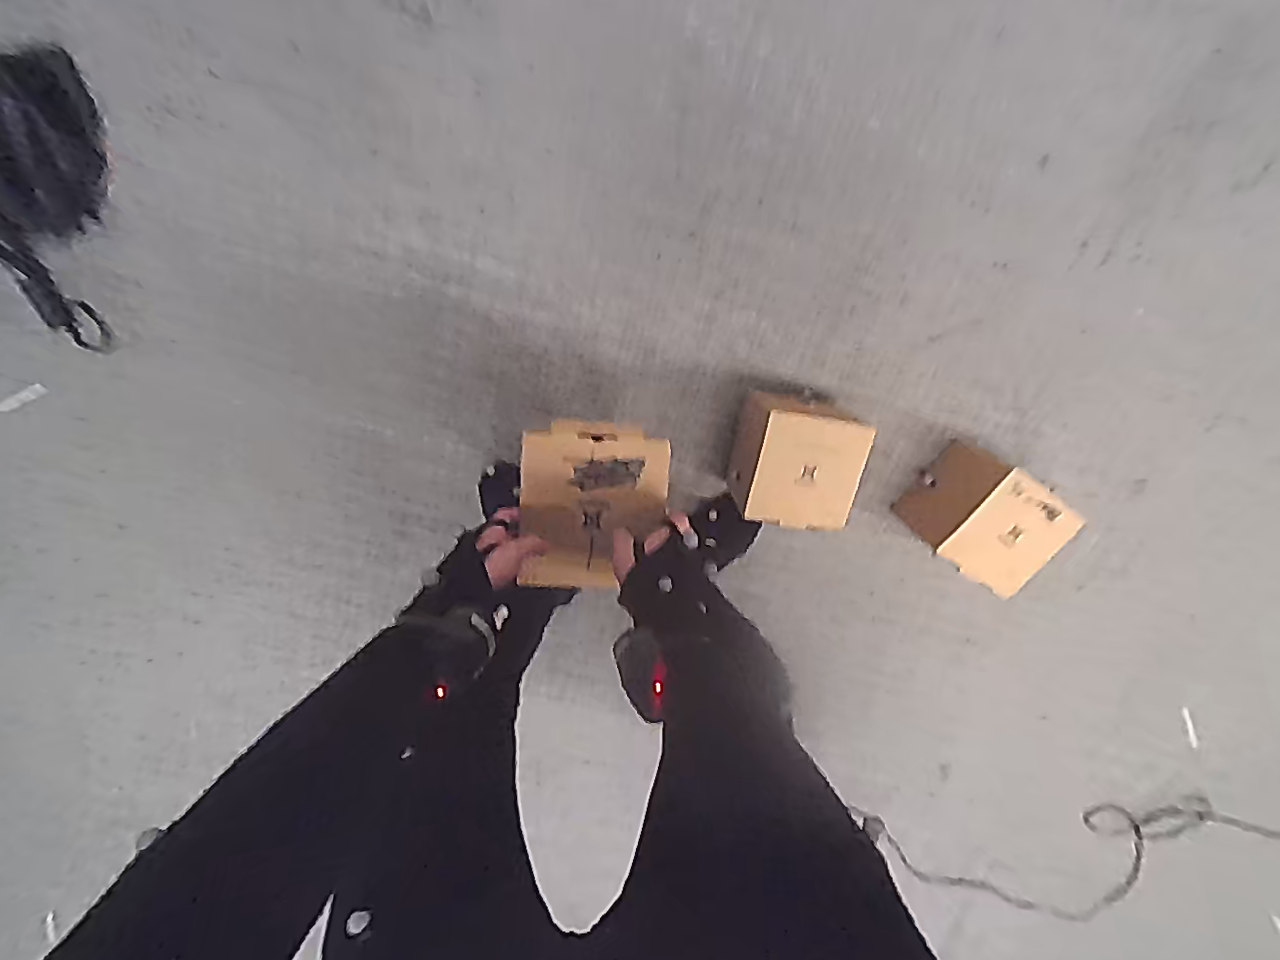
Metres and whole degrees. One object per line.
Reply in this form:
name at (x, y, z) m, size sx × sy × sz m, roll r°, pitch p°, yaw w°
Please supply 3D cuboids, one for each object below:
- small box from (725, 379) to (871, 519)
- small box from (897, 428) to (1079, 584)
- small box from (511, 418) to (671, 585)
small box at (0.245, -0.056, 0.890) m, size 0.168 × 0.176 × 0.179 m, roll 7°, pitch 110°, yaw -6°
small box at (0.579, 0.038, 0.934) m, size 0.168 × 0.176 × 0.179 m, roll 32°, pitch 108°, yaw -12°
small box at (-0.062, 0.017, 0.666) m, size 0.168 × 0.176 × 0.179 m, roll 4°, pitch 97°, yaw -6°
